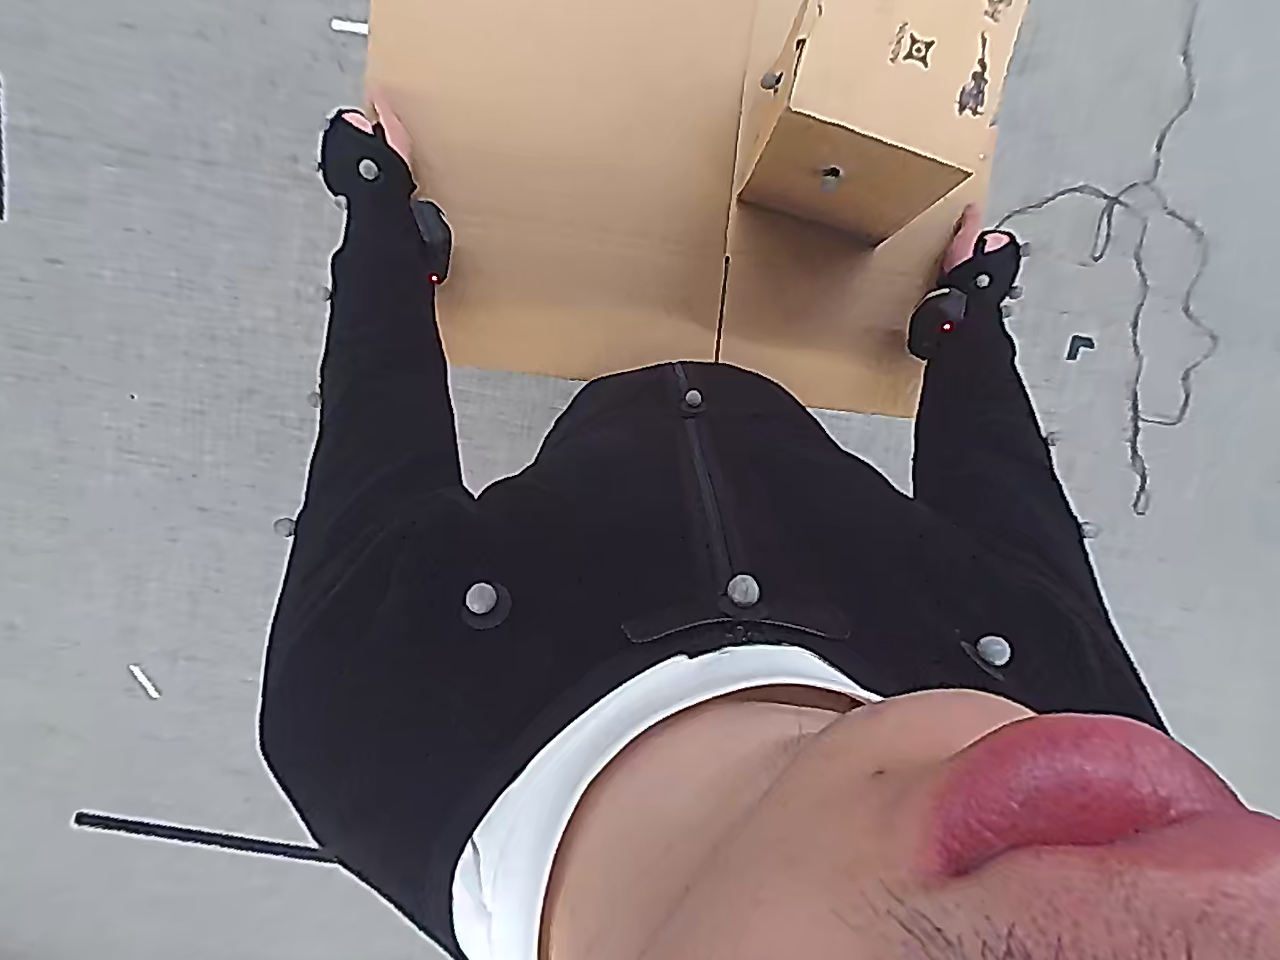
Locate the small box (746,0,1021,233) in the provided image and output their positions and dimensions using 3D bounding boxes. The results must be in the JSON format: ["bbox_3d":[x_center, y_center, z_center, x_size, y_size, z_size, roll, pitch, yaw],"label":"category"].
[{"bbox_3d":[0.222,-0.375,0.541,0.179,0.176,0.168,16,93,-3],"label":"small box"}]
